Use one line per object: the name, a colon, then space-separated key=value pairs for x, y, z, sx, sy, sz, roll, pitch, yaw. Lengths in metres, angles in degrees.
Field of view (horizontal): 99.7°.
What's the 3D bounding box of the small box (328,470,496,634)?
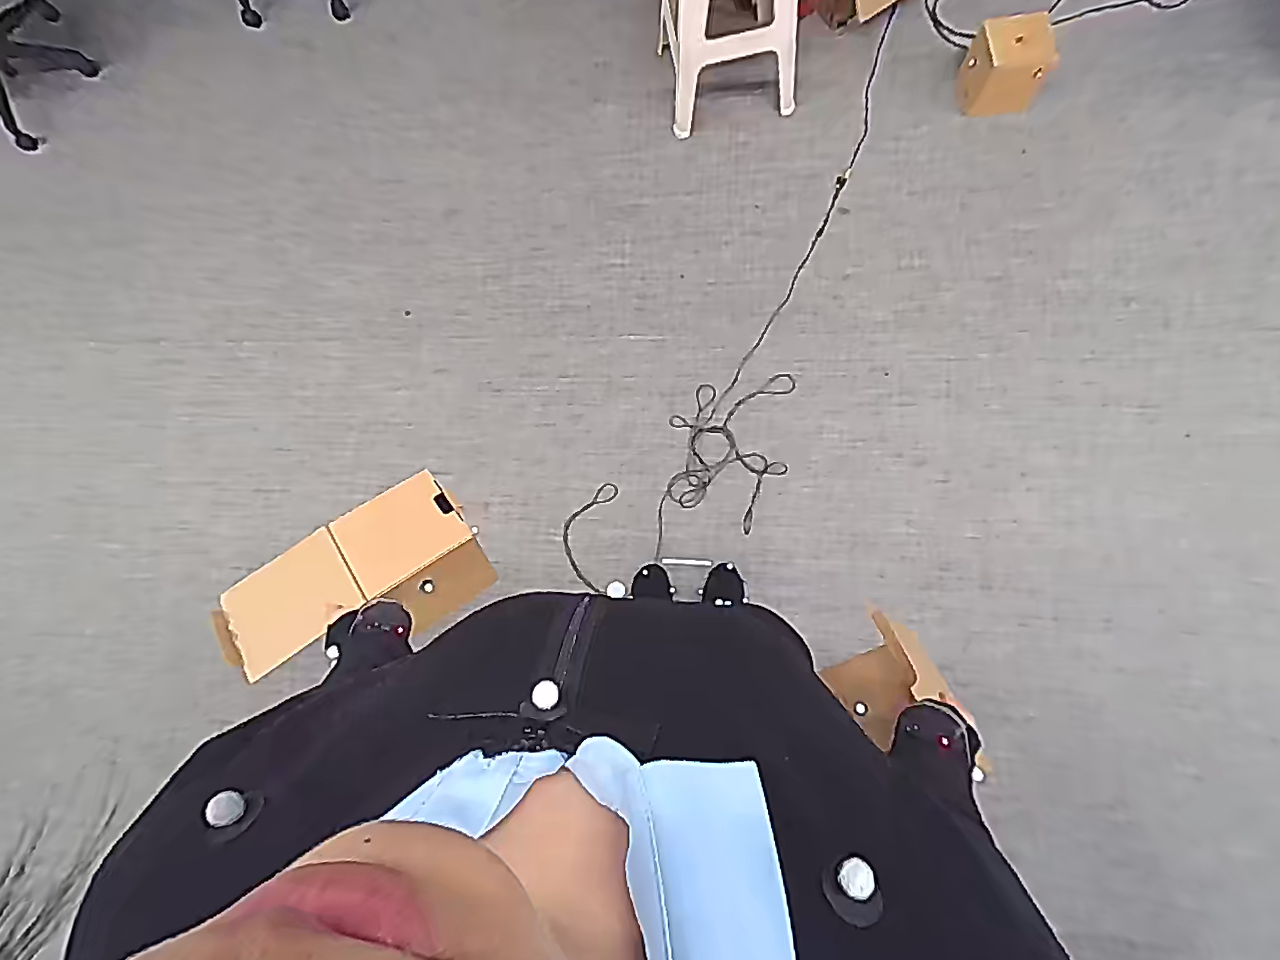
small box: x=-0.368 y=0.124 z=0.897 sx=0.179 sy=0.176 sz=0.168 roll=-34 pitch=61 yaw=-20
